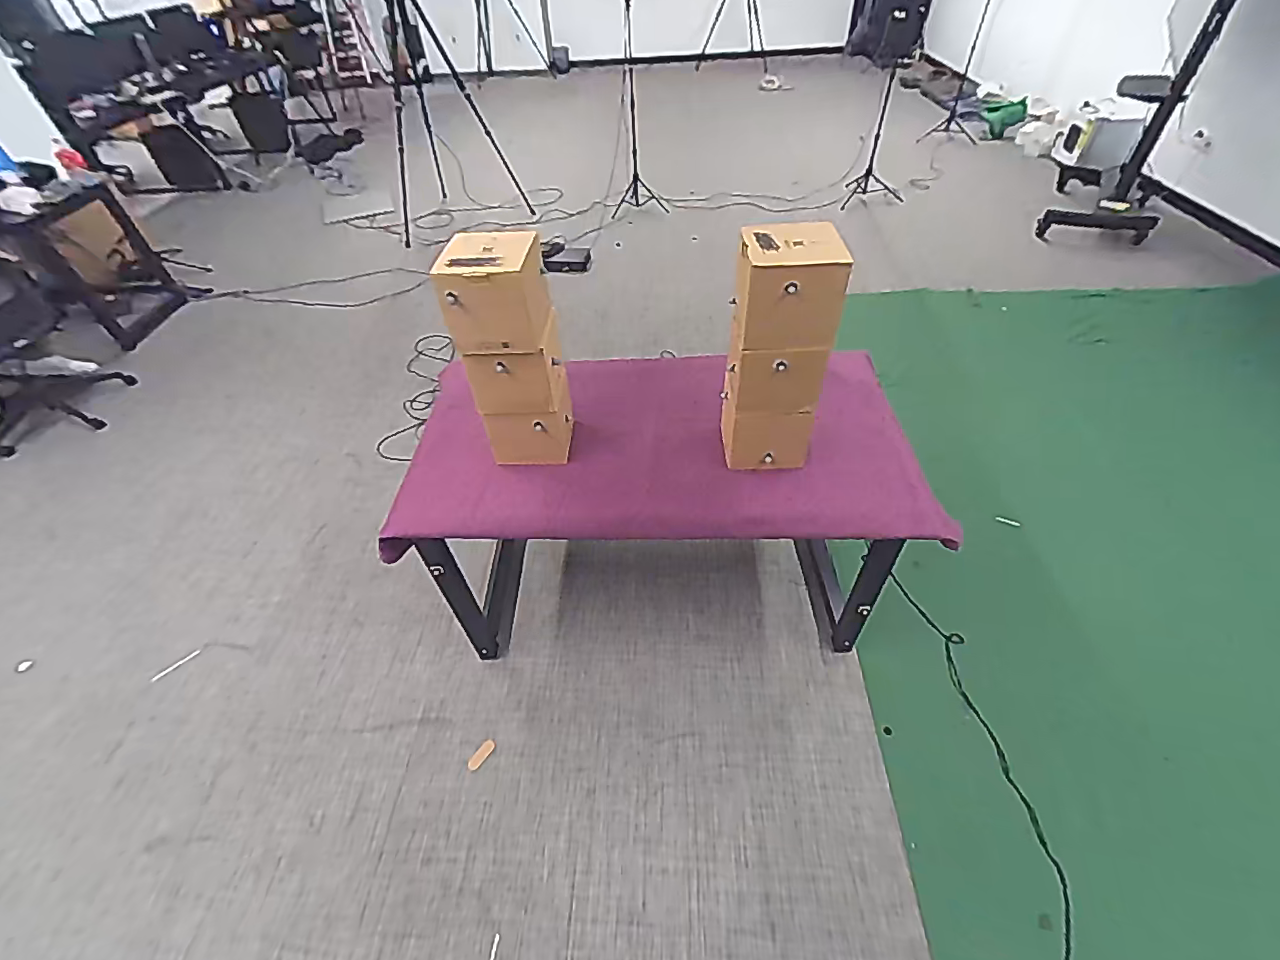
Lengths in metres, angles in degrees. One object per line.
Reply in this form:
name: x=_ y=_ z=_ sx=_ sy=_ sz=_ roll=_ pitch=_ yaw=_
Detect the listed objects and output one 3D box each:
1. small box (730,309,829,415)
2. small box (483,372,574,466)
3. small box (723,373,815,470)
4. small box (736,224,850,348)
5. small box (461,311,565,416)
small box: x=0.284 y=-0.251 z=1.149 sx=0.179 sy=0.176 sz=0.168 roll=-1 pitch=47 yaw=3
small box: x=-0.260 y=-0.147 z=1.316 sx=0.179 sy=0.176 sz=0.168 roll=-1 pitch=46 yaw=3
small box: x=0.293 y=-0.138 z=1.266 sx=0.179 sy=0.176 sz=0.168 roll=-2 pitch=46 yaw=2
small box: x=0.278 y=-0.365 z=1.031 sx=0.179 sy=0.176 sz=0.168 roll=-2 pitch=48 yaw=3
small box: x=-0.269 y=-0.255 z=1.197 sx=0.179 sy=0.176 sz=0.168 roll=-1 pitch=47 yaw=3
